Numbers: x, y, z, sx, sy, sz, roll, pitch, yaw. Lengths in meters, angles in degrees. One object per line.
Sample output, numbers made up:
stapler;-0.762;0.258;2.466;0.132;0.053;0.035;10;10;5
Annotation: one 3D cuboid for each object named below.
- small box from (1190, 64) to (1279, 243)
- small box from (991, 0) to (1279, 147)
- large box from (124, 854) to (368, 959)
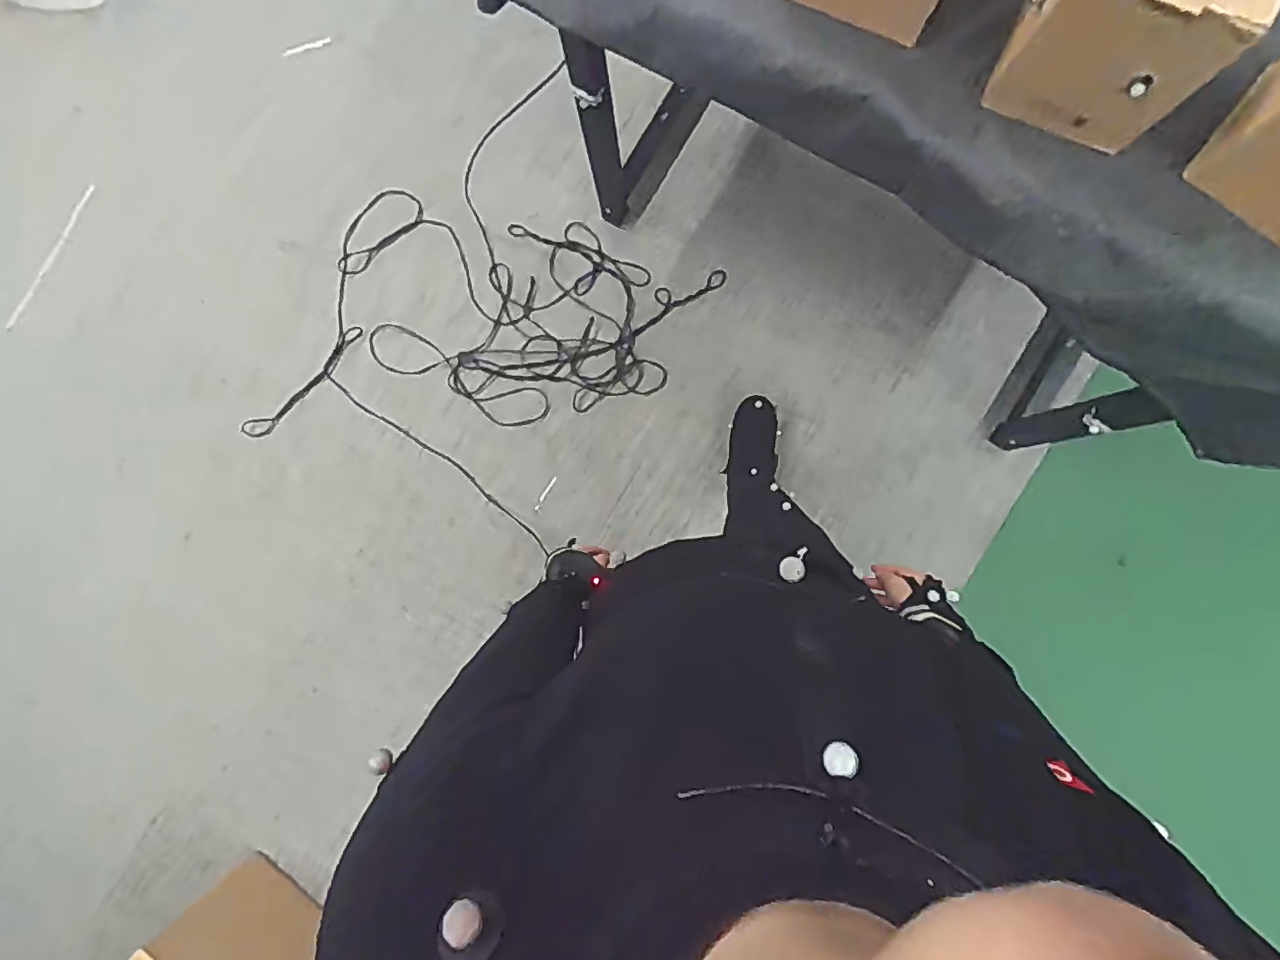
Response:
small box;0.731;-0.364;0.535;0.179;0.176;0.168;39;89;4
small box;0.505;-0.491;0.553;0.168;0.176;0.179;24;87;3
large box;-0.918;1.166;1.199;0.408;0.320;0.320;37;89;5
